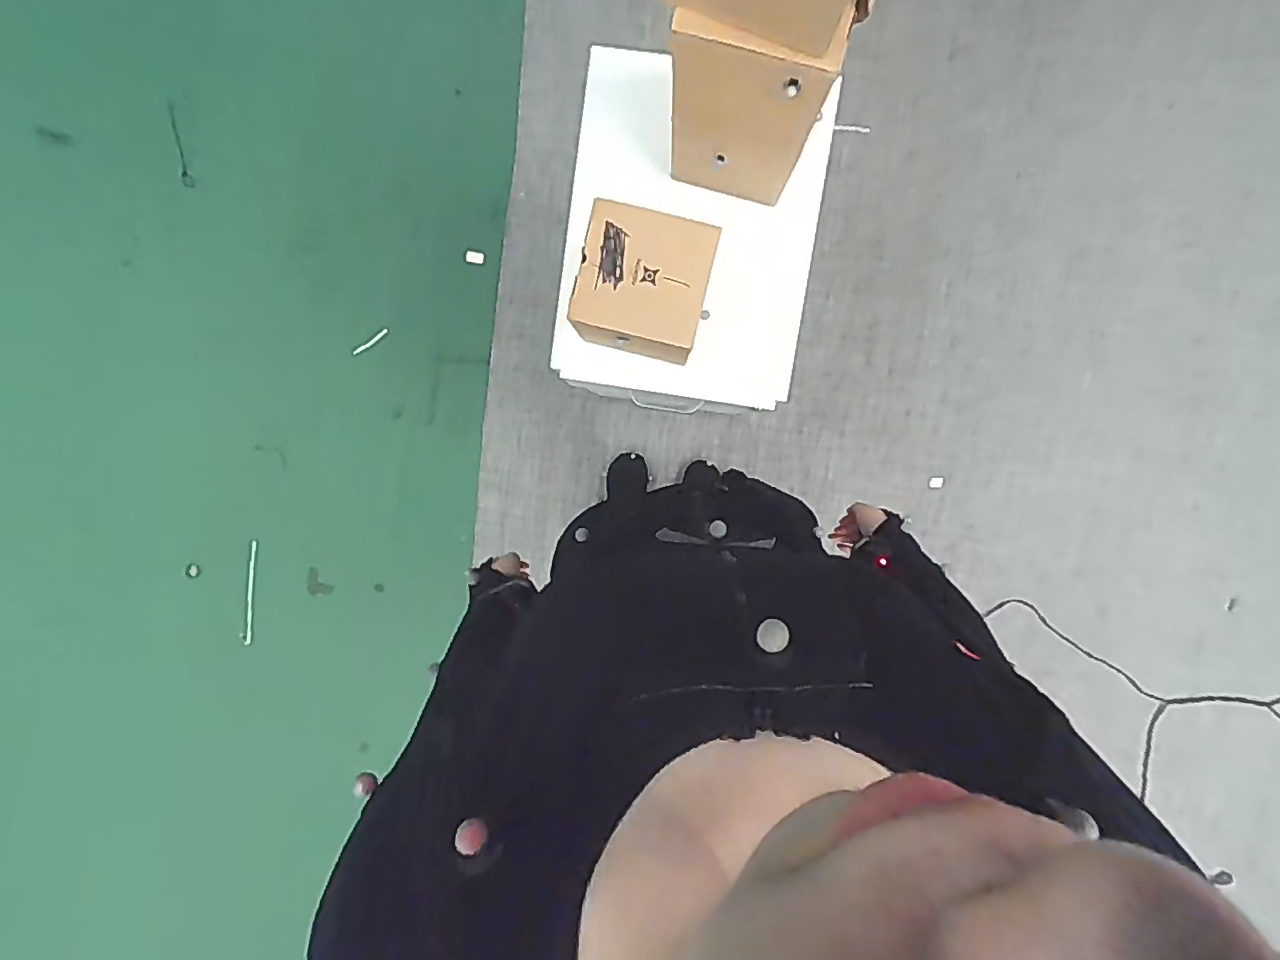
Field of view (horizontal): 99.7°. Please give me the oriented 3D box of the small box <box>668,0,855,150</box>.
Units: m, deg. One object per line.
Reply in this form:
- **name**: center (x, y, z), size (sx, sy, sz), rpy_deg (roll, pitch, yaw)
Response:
- **small box**: center (0.135, -0.509, 0.609), size (0.179, 0.176, 0.168), rpy_deg (15, 96, 1)

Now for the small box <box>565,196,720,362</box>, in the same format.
- **small box**: center (0.004, -0.281, 0.796), size (0.179, 0.176, 0.168), rpy_deg (14, 95, 0)

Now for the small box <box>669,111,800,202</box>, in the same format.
- **small box**: center (0.147, -0.526, 0.771), size (0.179, 0.176, 0.168), rpy_deg (16, 96, 2)
